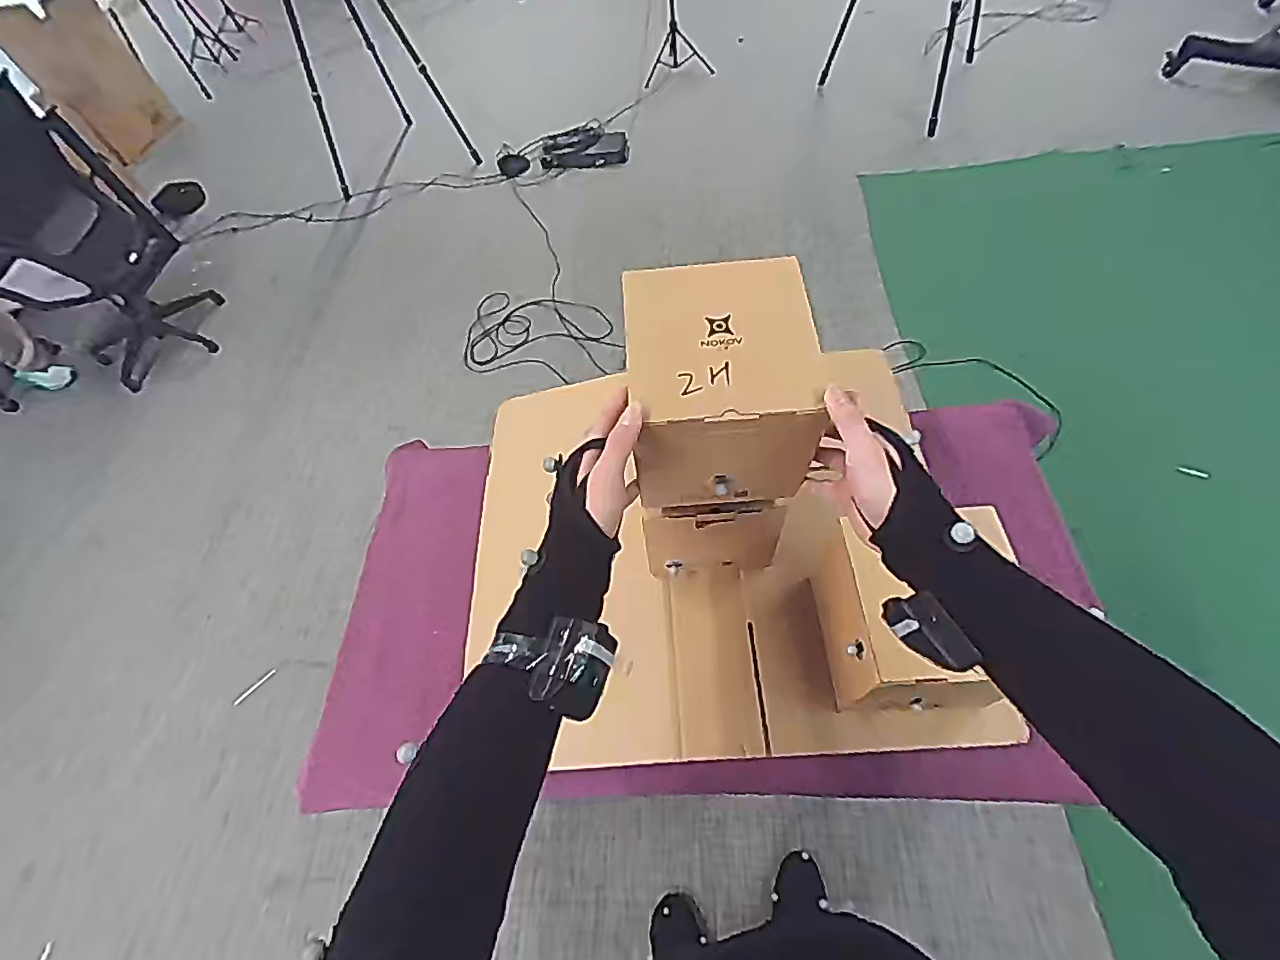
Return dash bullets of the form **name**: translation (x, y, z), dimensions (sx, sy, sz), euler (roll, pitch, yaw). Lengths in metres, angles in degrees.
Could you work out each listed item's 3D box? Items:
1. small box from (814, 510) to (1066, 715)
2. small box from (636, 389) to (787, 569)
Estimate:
- **small box**: translation (0.302, 0.151, 0.597), dimensions (0.168, 0.176, 0.179), euler (-4, 59, 3)
- **small box**: translation (0.085, 0.008, 0.701), dimensions (0.168, 0.176, 0.179), euler (-4, 58, 2)
